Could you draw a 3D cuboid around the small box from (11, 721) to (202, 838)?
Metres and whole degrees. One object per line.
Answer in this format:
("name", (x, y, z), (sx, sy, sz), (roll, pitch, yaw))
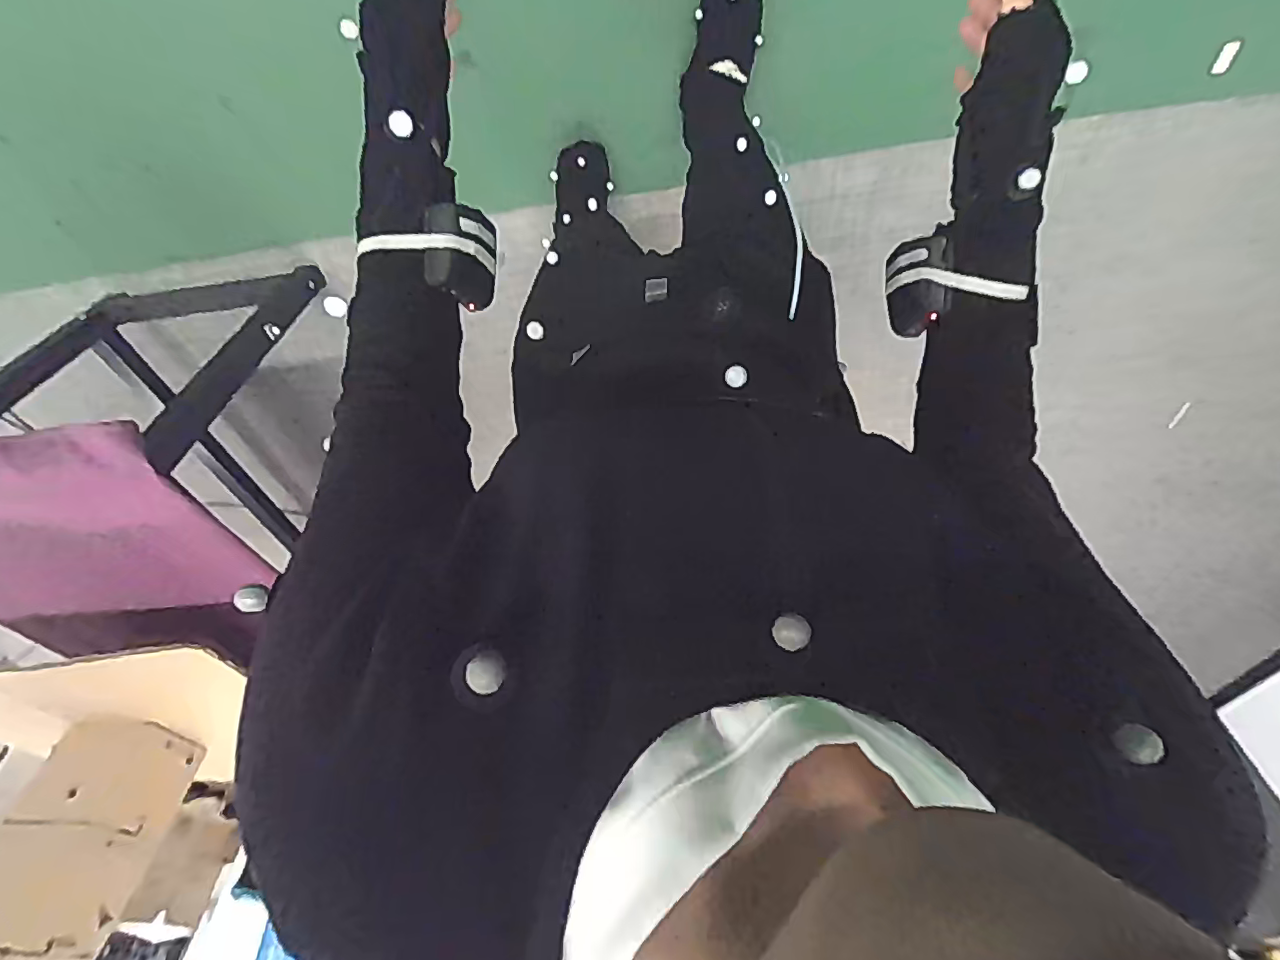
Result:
("small box", (-1.005, 0.579, 1.047), (0.179, 0.176, 0.168), (-2, 136, 5))

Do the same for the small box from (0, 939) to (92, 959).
("small box", (-1.019, 0.813, 0.819), (0.179, 0.176, 0.168), (-3, 136, 6))
